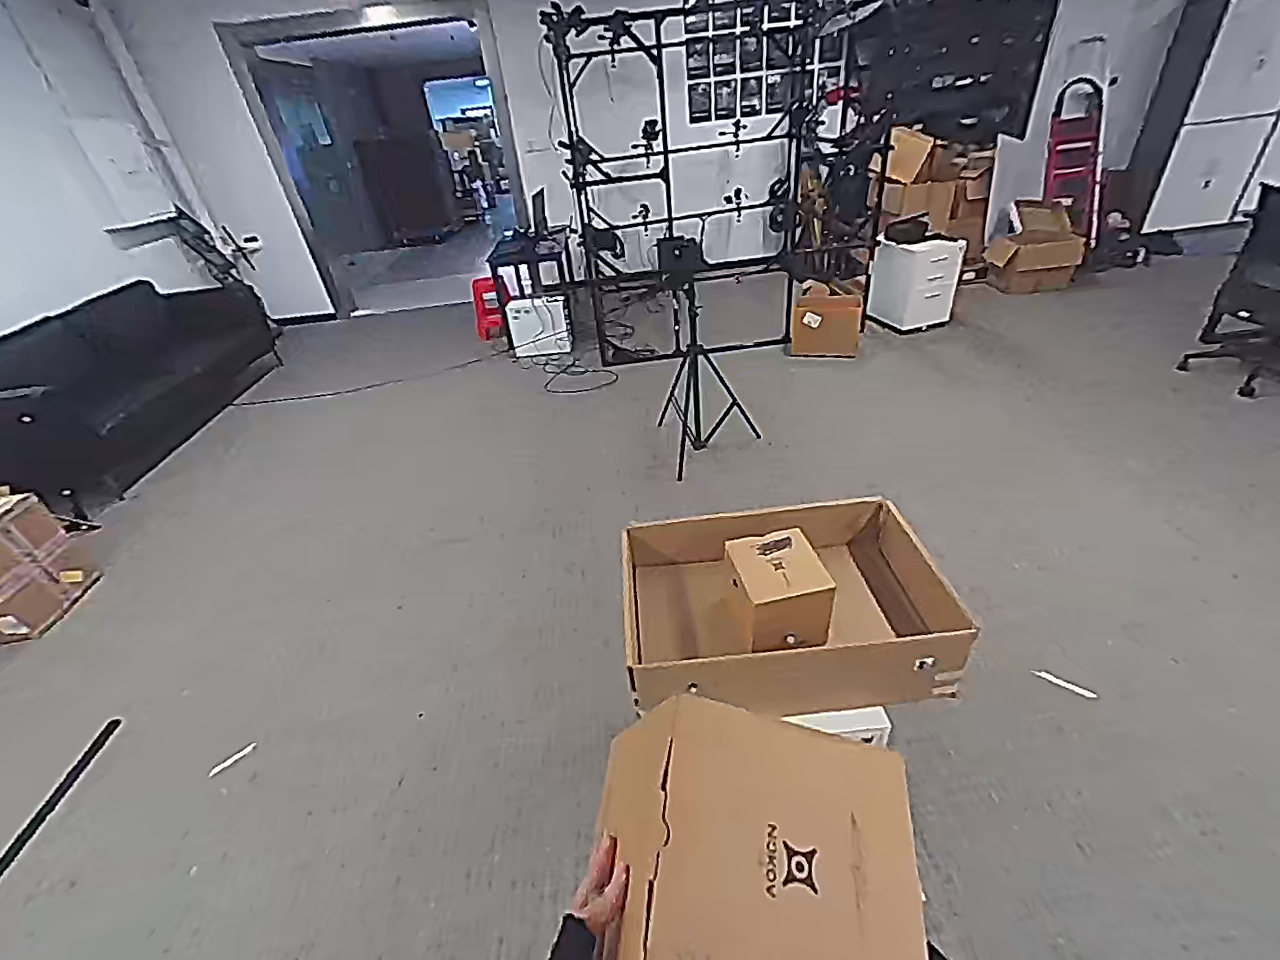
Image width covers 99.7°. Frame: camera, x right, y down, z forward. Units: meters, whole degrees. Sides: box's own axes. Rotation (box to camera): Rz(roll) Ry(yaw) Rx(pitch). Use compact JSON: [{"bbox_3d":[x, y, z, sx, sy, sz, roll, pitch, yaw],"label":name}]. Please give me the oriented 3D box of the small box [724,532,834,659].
[{"bbox_3d":[0.275,0.236,1.114,0.168,0.176,0.179,-11,36,-6],"label":"small box"}]
